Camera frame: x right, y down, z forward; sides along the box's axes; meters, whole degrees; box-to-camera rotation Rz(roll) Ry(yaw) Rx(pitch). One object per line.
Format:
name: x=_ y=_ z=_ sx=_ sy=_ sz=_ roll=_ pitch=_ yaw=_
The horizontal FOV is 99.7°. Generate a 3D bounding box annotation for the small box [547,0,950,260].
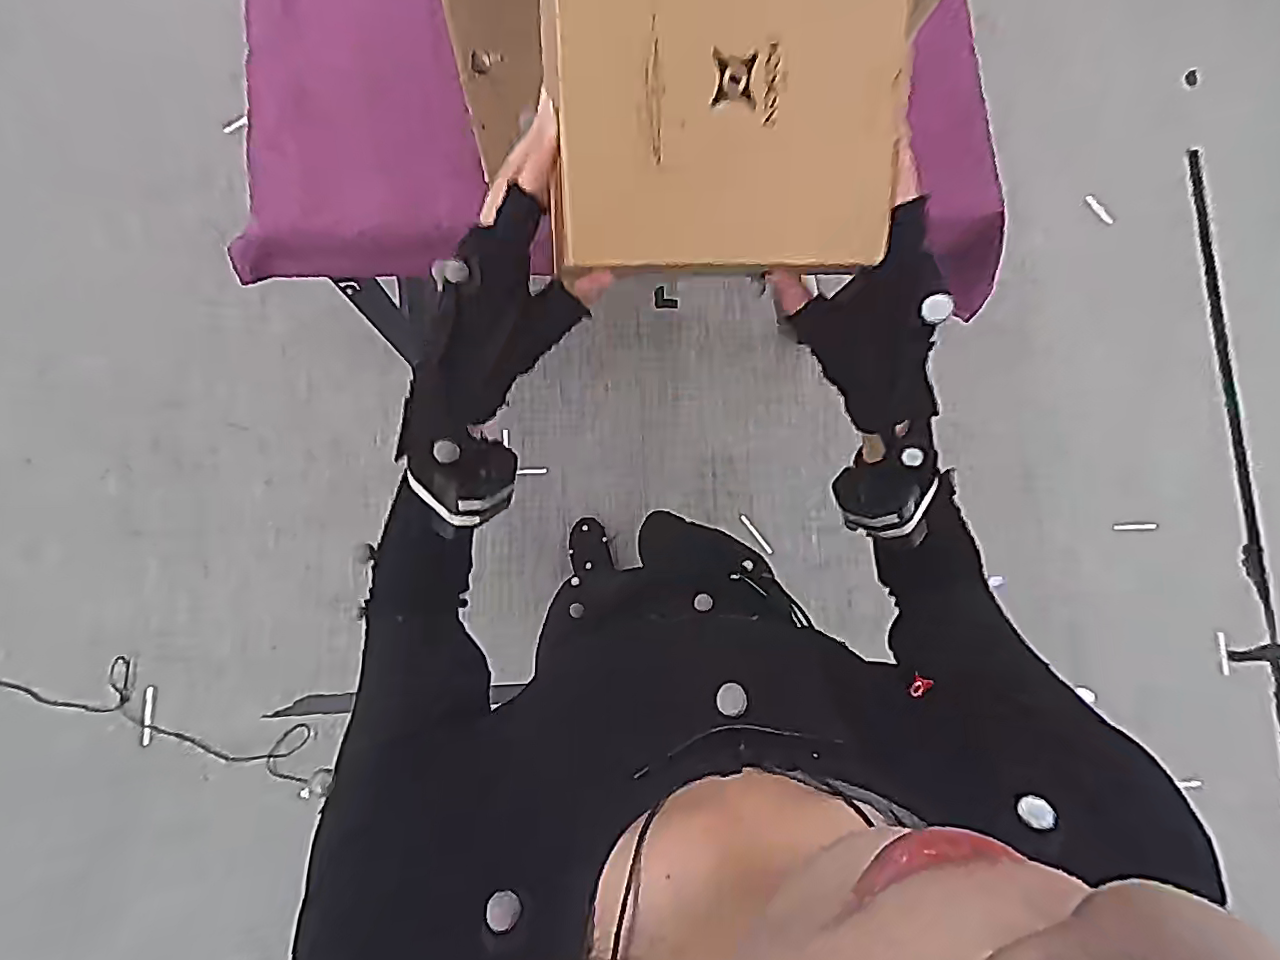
small box: x=0.042 y=-0.220 z=0.310 sx=0.179 sy=0.176 sz=0.168 roll=-4 pitch=110 yaw=-9
